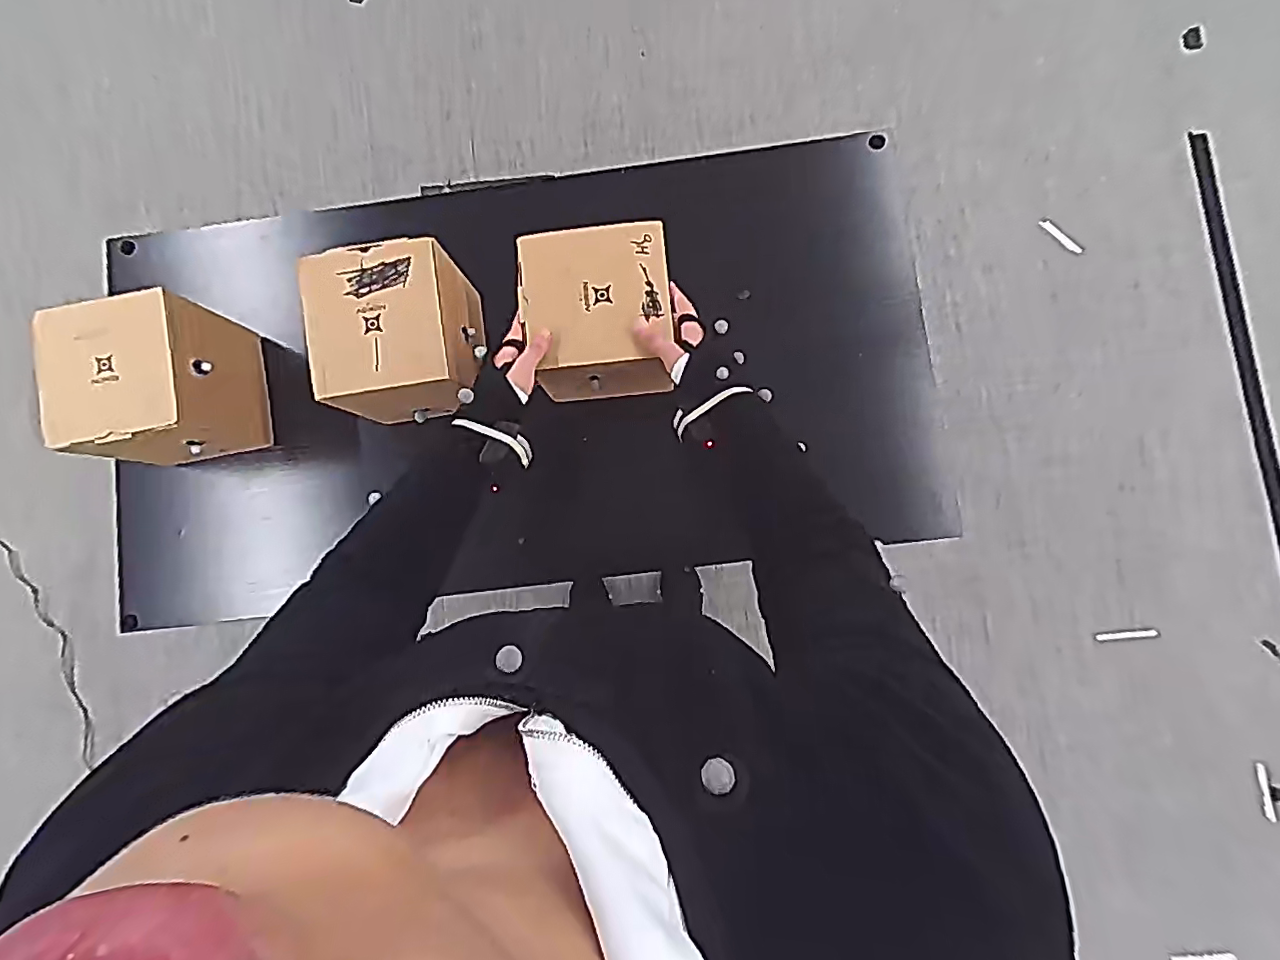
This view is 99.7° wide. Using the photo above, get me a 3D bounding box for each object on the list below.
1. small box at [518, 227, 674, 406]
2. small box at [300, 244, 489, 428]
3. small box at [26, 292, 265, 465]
[{"bbox_3d":[-0.048,-0.199,0.704,0.179,0.176,0.168,-5,85,2],"label":"small box"},{"bbox_3d":[-0.309,-0.177,0.711,0.168,0.176,0.179,-8,86,1],"label":"small box"},{"bbox_3d":[-0.637,-0.120,0.718,0.168,0.176,0.179,-11,84,0],"label":"small box"}]
